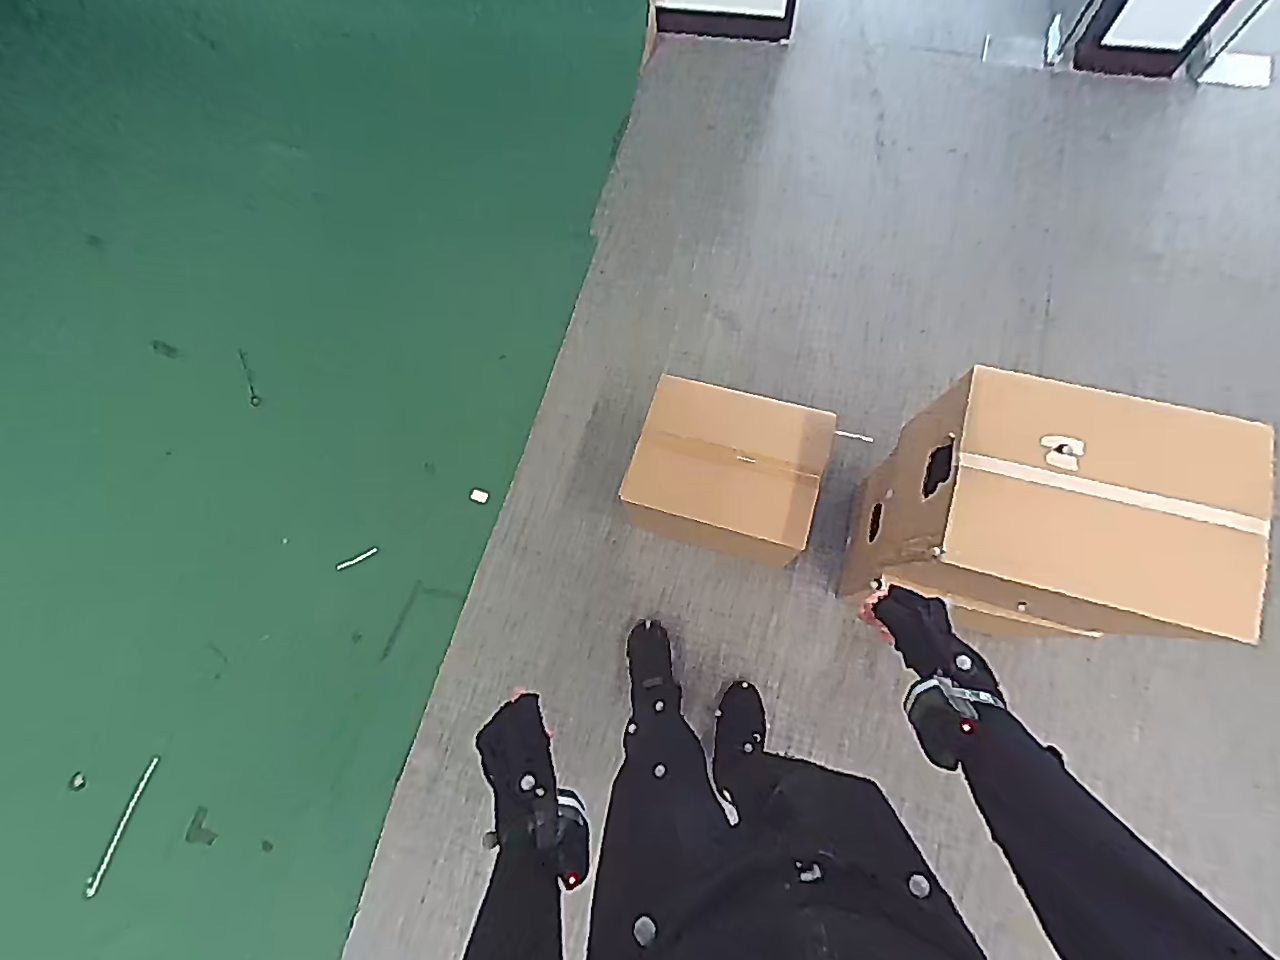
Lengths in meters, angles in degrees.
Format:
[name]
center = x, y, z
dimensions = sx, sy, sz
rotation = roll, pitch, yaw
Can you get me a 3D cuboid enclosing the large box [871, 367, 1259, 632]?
[large box]
center = 0.663, 0.043, 0.915
dimensions = 0.408, 0.320, 0.320
rotation = 14, 80, 11
